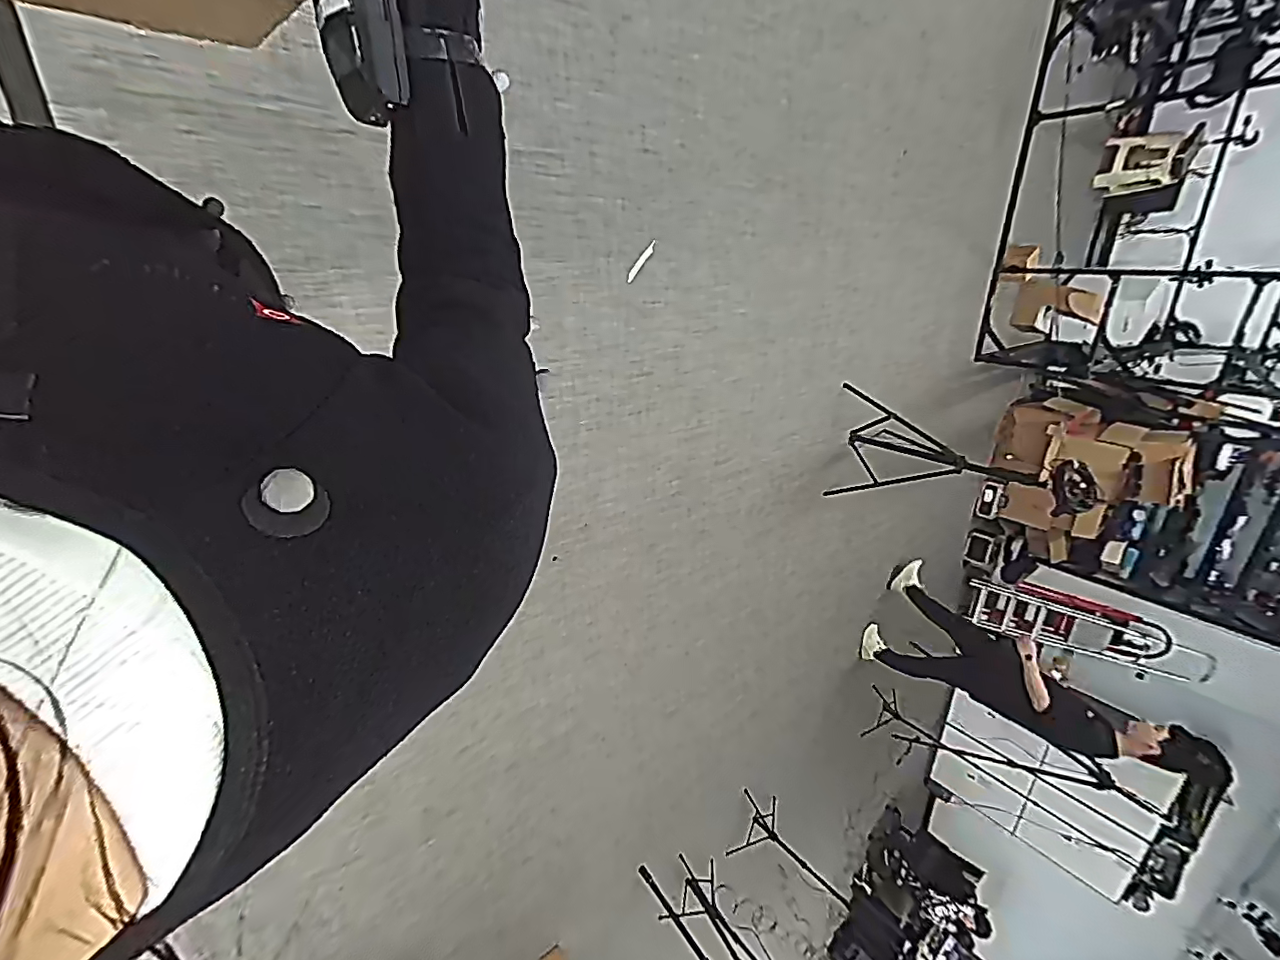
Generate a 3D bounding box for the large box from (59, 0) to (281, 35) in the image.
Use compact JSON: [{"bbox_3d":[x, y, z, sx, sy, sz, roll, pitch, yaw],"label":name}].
[{"bbox_3d":[-0.400,-0.430,0.208,0.408,0.320,0.320,-18,125,-37],"label":"large box"}]
